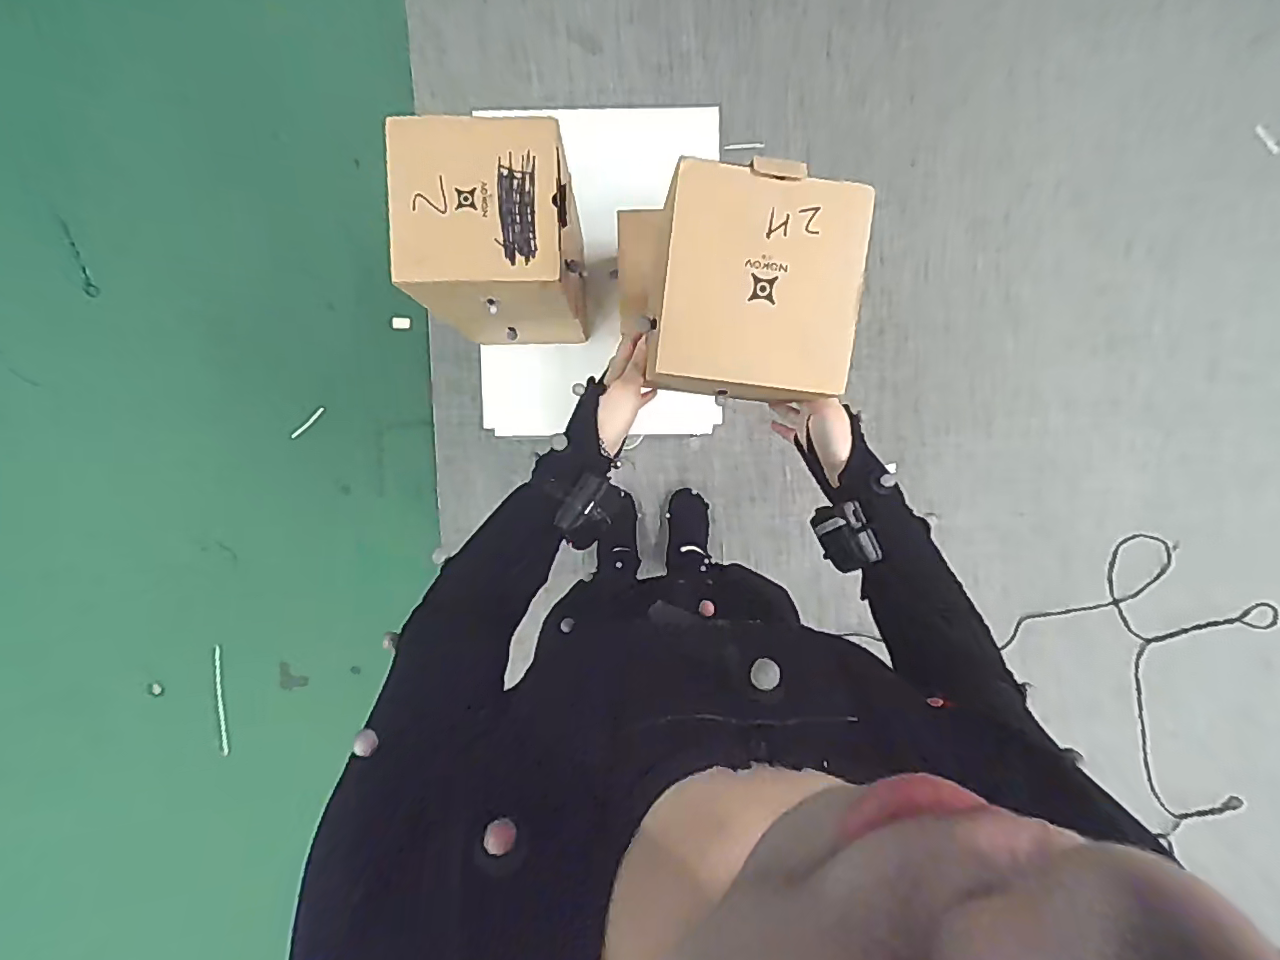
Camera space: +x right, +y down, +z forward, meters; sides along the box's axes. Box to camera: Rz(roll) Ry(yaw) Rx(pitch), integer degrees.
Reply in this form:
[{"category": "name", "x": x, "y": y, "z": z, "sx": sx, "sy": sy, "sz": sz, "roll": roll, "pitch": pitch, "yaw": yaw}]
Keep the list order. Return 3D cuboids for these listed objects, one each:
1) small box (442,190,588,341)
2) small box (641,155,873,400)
[{"category": "small box", "x": -0.173, "y": -0.302, "z": 0.794, "sx": 0.179, "sy": 0.176, "sz": 0.168, "roll": -2, "pitch": 94, "yaw": -1}, {"category": "small box", "x": 0.094, "y": -0.173, "z": 0.521, "sx": 0.168, "sy": 0.176, "sz": 0.179, "roll": 6, "pitch": 96, "yaw": -5}]
